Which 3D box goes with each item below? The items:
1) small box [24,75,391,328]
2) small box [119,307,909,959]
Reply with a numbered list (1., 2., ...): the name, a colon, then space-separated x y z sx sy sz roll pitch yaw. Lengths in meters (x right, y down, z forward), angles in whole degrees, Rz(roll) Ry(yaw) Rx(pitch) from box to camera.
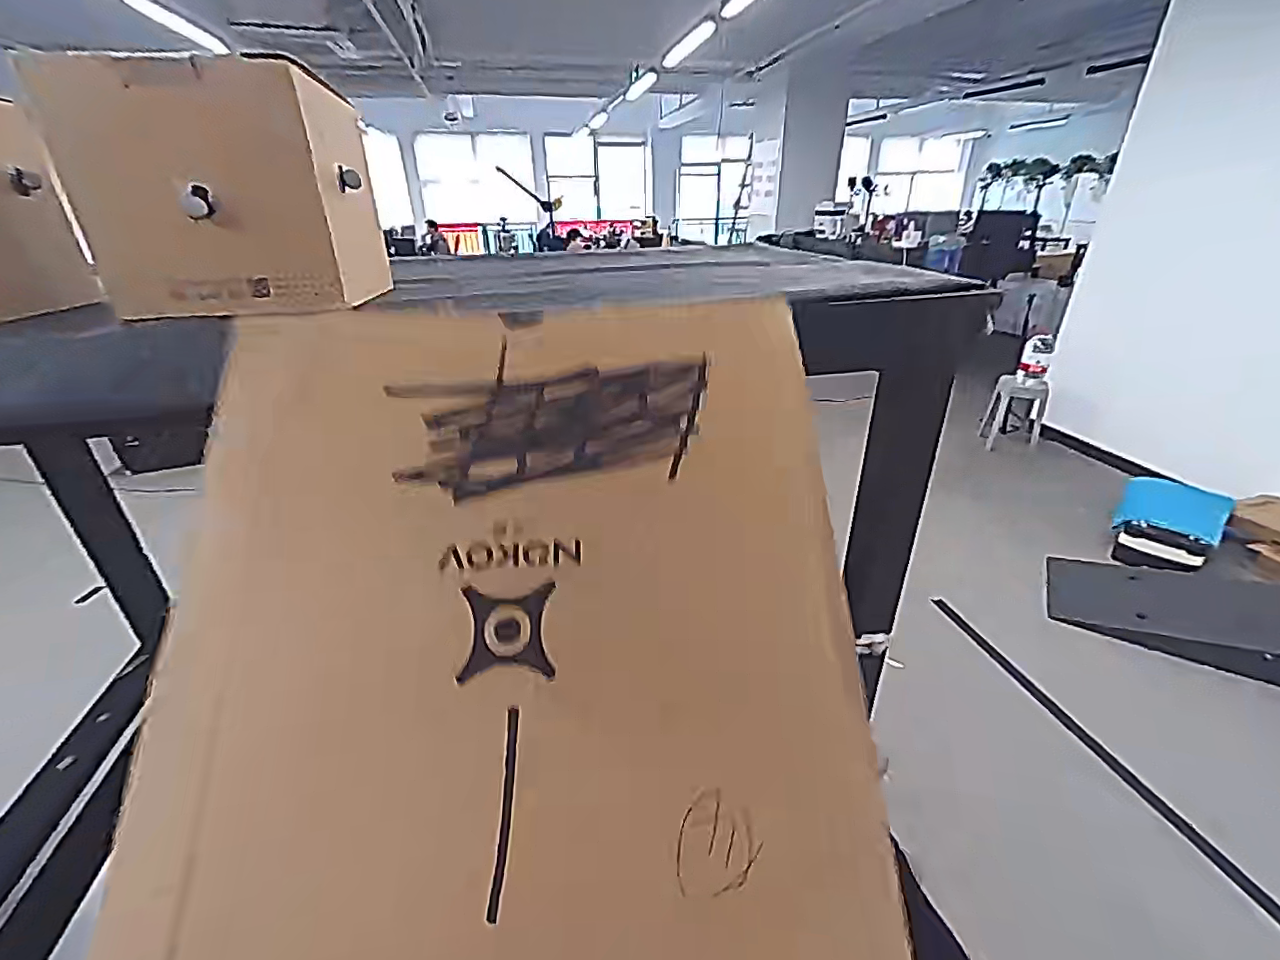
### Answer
1. small box: -0.330 -0.228 0.467 0.168 0.176 0.179 -6 26 -11
2. small box: -0.031 0.056 0.215 0.168 0.176 0.179 -3 70 -3
